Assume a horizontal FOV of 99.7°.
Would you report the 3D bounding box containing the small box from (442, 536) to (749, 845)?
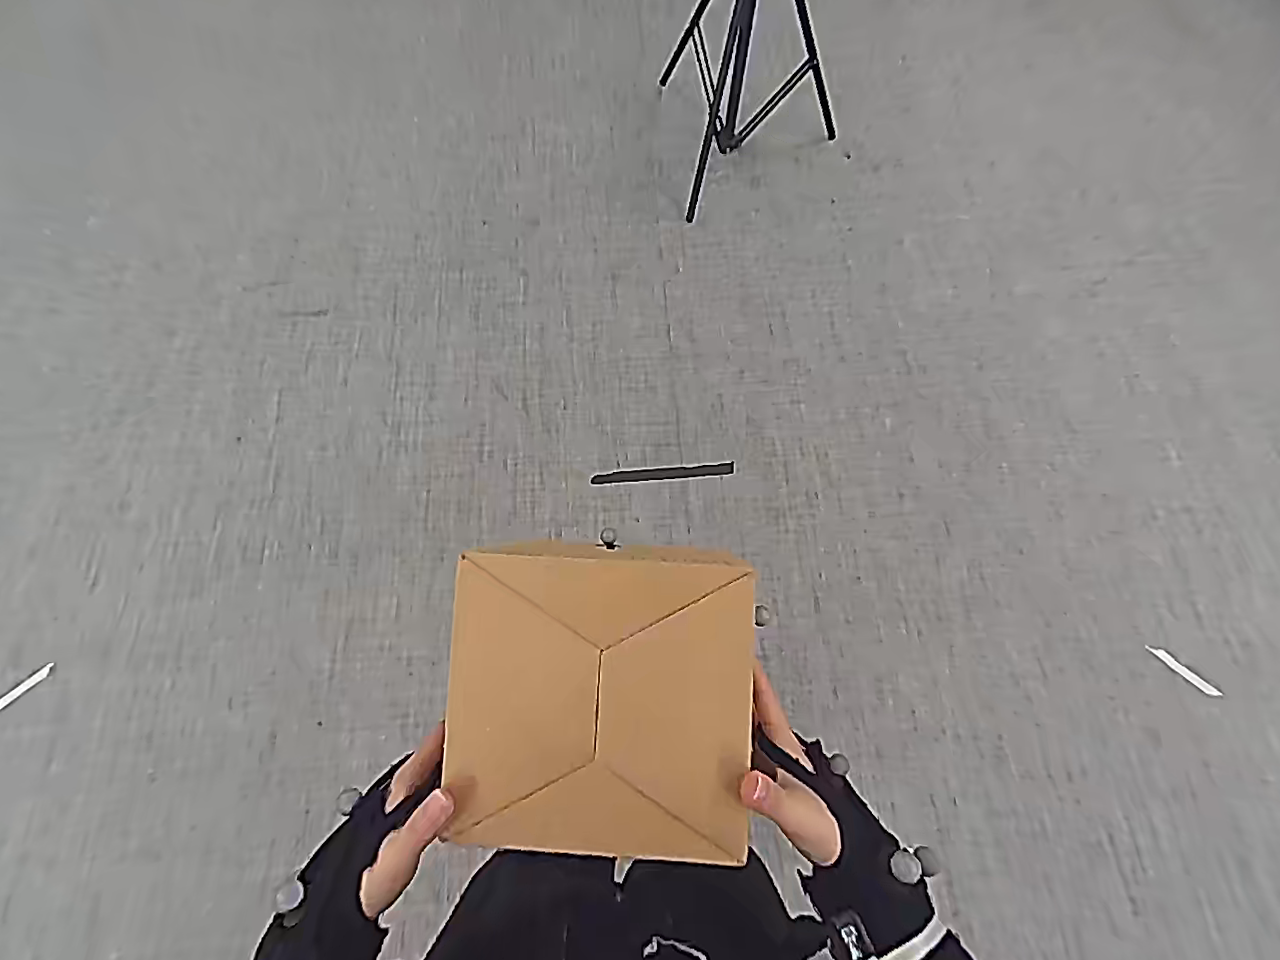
[{"bbox_3d":[-0.020,0.129,0.387,0.179,0.176,0.168,3,85,2],"label":"small box"}]
